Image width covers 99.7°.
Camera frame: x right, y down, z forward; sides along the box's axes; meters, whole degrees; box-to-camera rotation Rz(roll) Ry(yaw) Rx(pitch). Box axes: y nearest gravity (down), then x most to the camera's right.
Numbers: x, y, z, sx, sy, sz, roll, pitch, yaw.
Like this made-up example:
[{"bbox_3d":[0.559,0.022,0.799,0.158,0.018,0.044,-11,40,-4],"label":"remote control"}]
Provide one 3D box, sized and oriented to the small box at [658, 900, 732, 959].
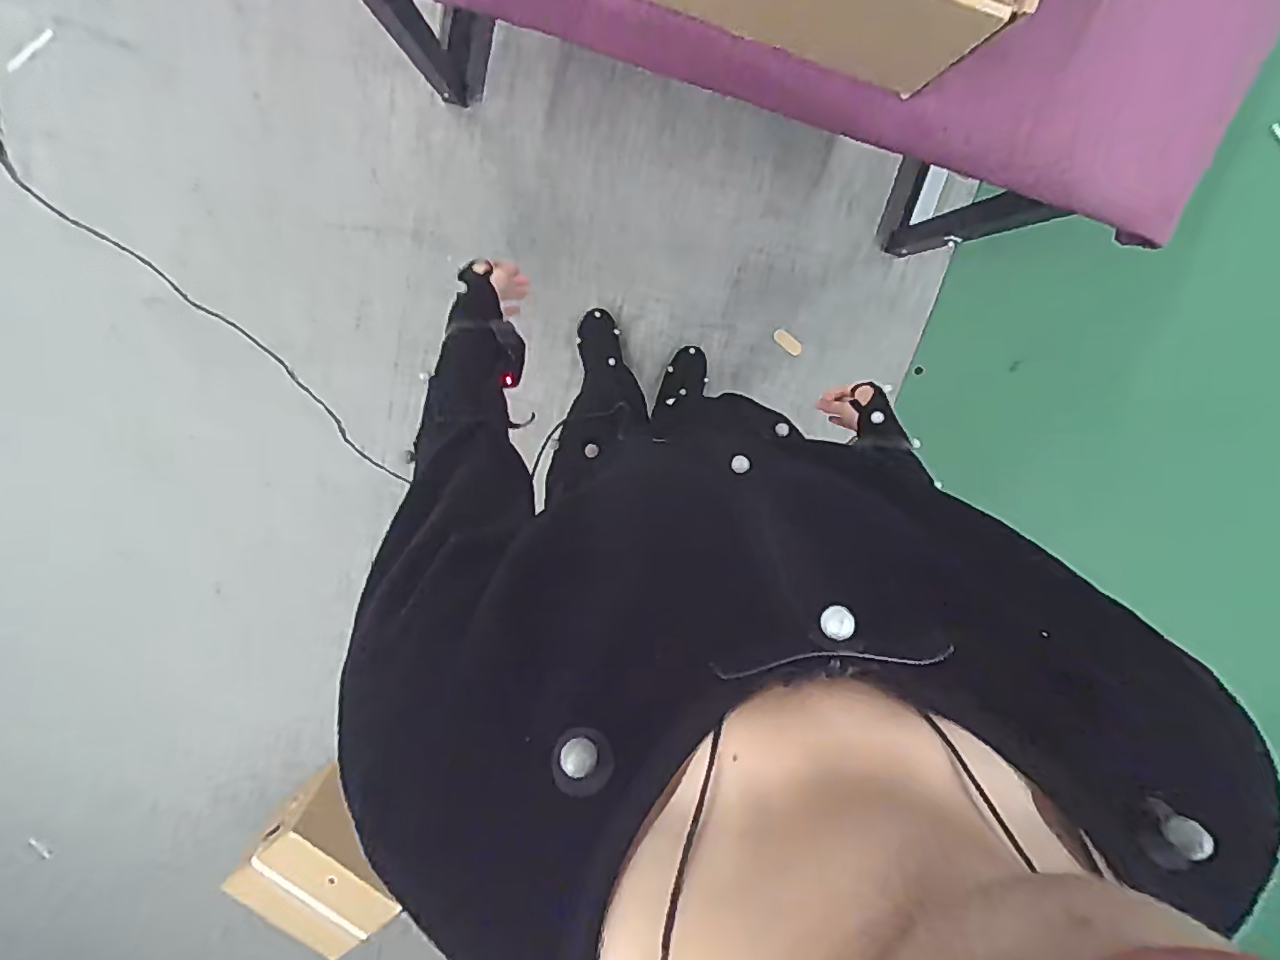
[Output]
[{"bbox_3d":[0.147,1.293,1.479,0.179,0.176,0.168,4,103,-2],"label":"small box"}]
